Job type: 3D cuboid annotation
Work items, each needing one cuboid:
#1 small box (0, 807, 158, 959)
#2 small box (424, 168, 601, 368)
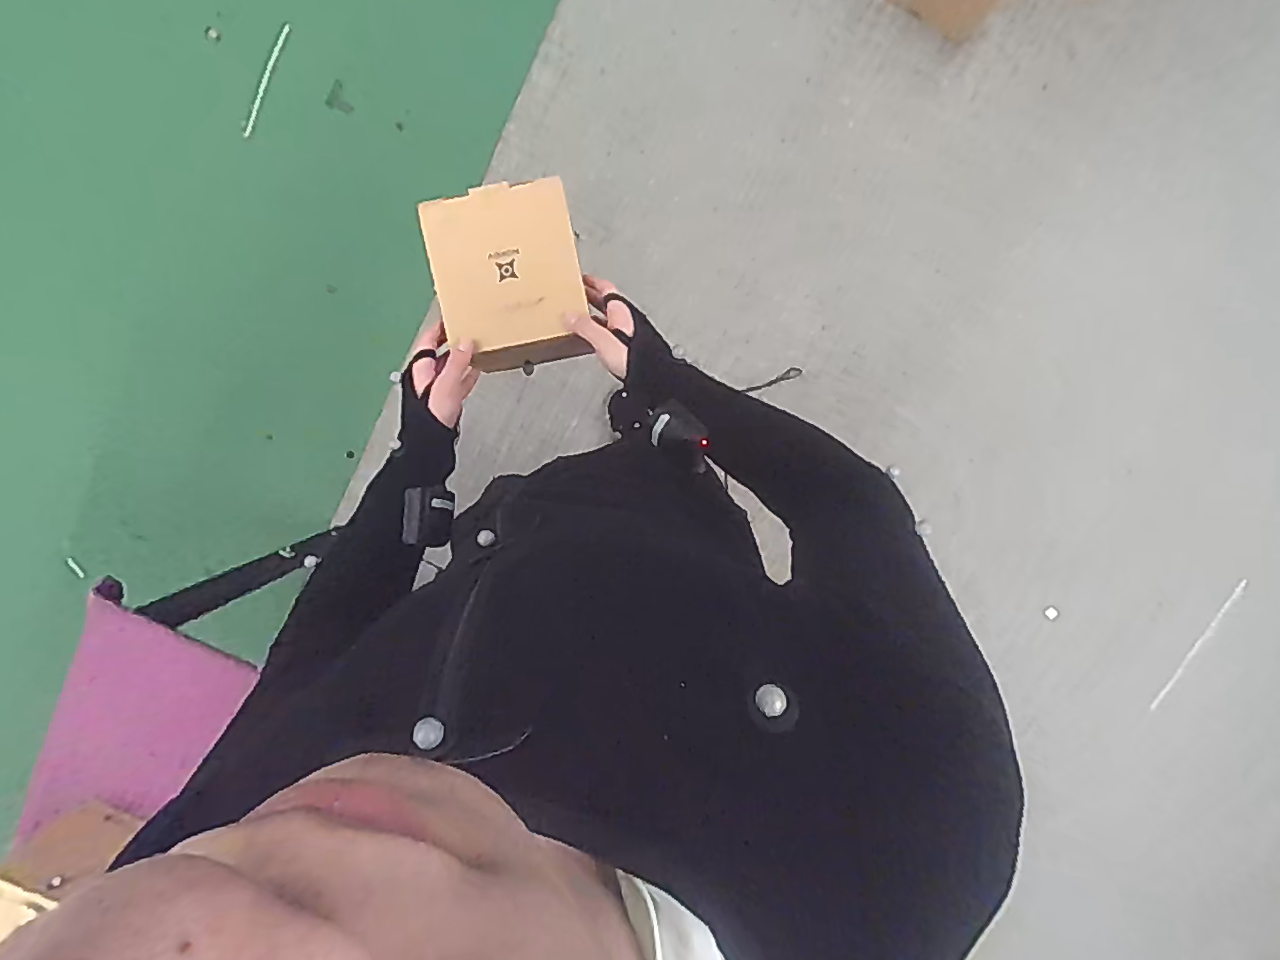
[{"bbox_3d":[-1.006,0.727,0.944,0.168,0.176,0.179,25,99,-3],"label":"small box"},{"bbox_3d":[-0.145,-0.249,0.675,0.168,0.176,0.179,-11,95,-1],"label":"small box"}]
